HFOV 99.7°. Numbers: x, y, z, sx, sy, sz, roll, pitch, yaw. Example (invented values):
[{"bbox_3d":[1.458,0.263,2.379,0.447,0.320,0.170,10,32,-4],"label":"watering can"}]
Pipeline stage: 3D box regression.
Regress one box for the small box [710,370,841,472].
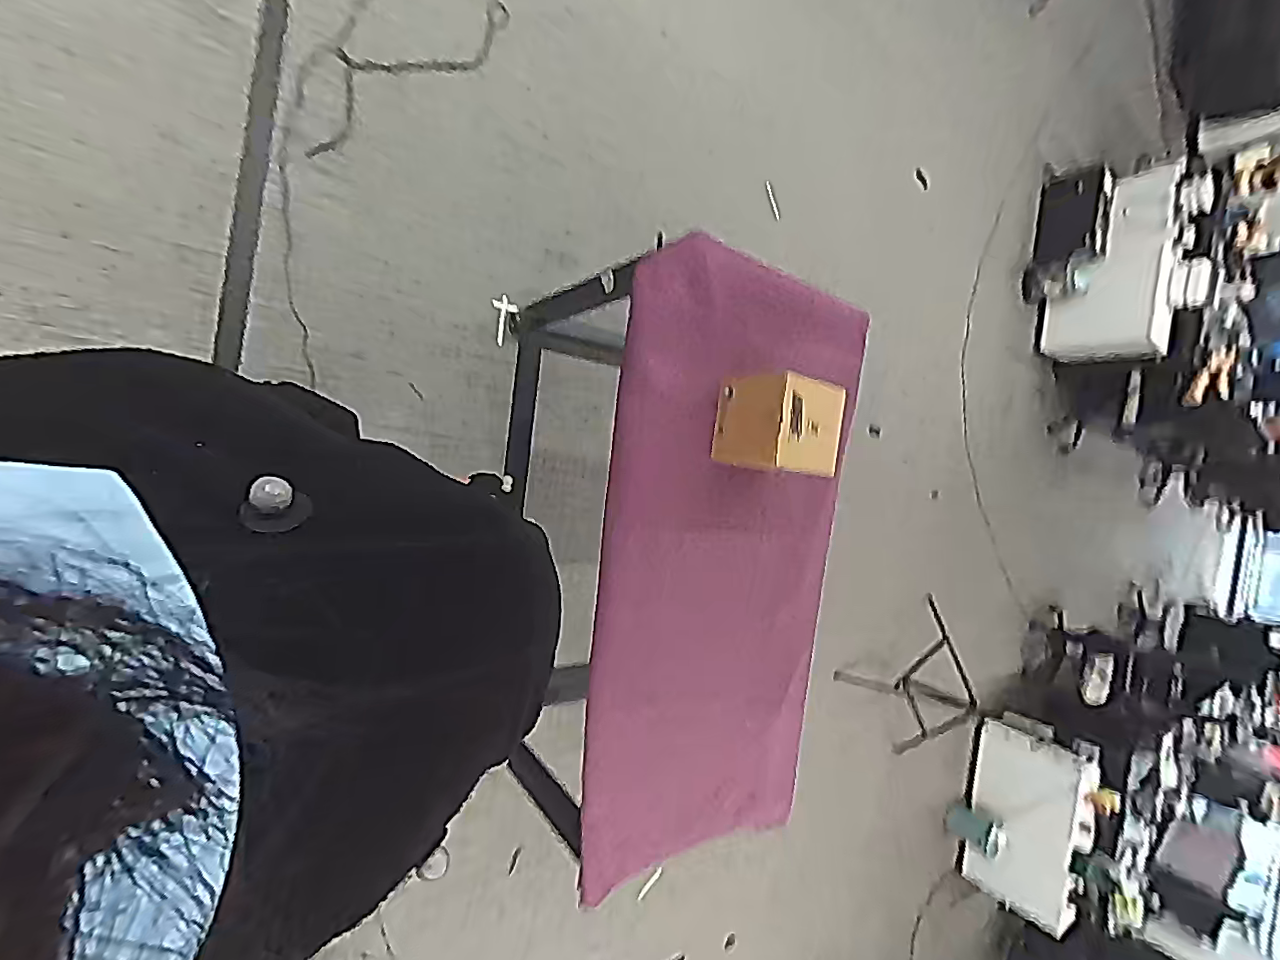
[{"bbox_3d":[0.259,-0.111,1.055,0.179,0.176,0.168,6,92,-36],"label":"small box"}]
